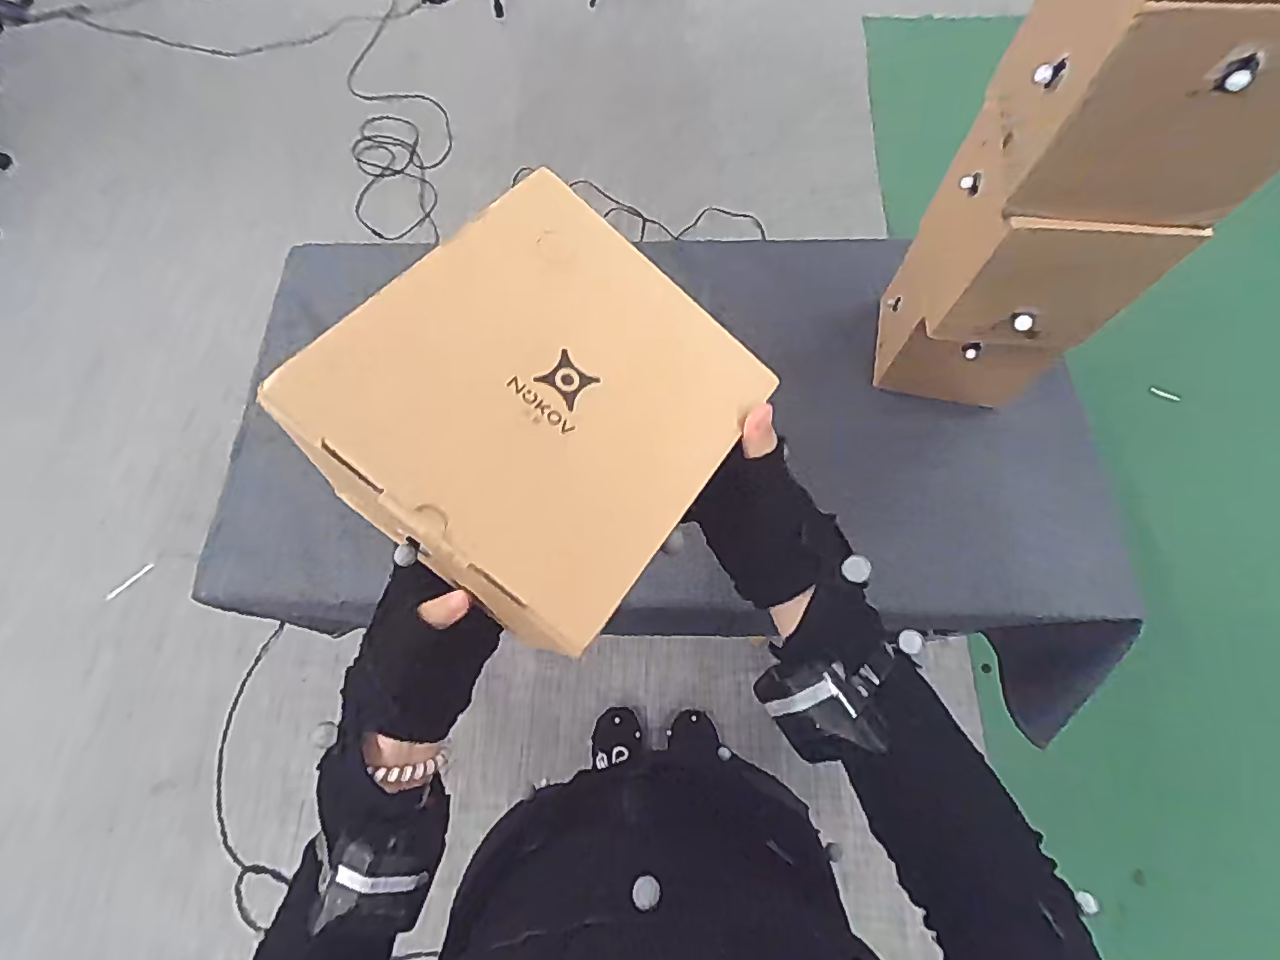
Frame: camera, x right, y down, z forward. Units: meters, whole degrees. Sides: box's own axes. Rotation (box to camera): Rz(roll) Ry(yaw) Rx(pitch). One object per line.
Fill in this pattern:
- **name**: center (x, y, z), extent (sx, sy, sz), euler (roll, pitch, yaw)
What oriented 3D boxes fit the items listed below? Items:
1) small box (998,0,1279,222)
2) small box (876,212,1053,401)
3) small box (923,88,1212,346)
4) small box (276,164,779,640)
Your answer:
- **small box**: center (0.406, -0.327, 0.417), extent (0.179, 0.176, 0.168), euler (8, 71, 6)
- **small box**: center (0.435, -0.224, 0.726), extent (0.179, 0.176, 0.168), euler (12, 70, 7)
- **small box**: center (0.417, -0.267, 0.568), extent (0.168, 0.176, 0.179), euler (5, 70, 6)
- **small box**: center (-0.059, -0.028, 0.319), extent (0.168, 0.176, 0.179), euler (40, 66, -5)
